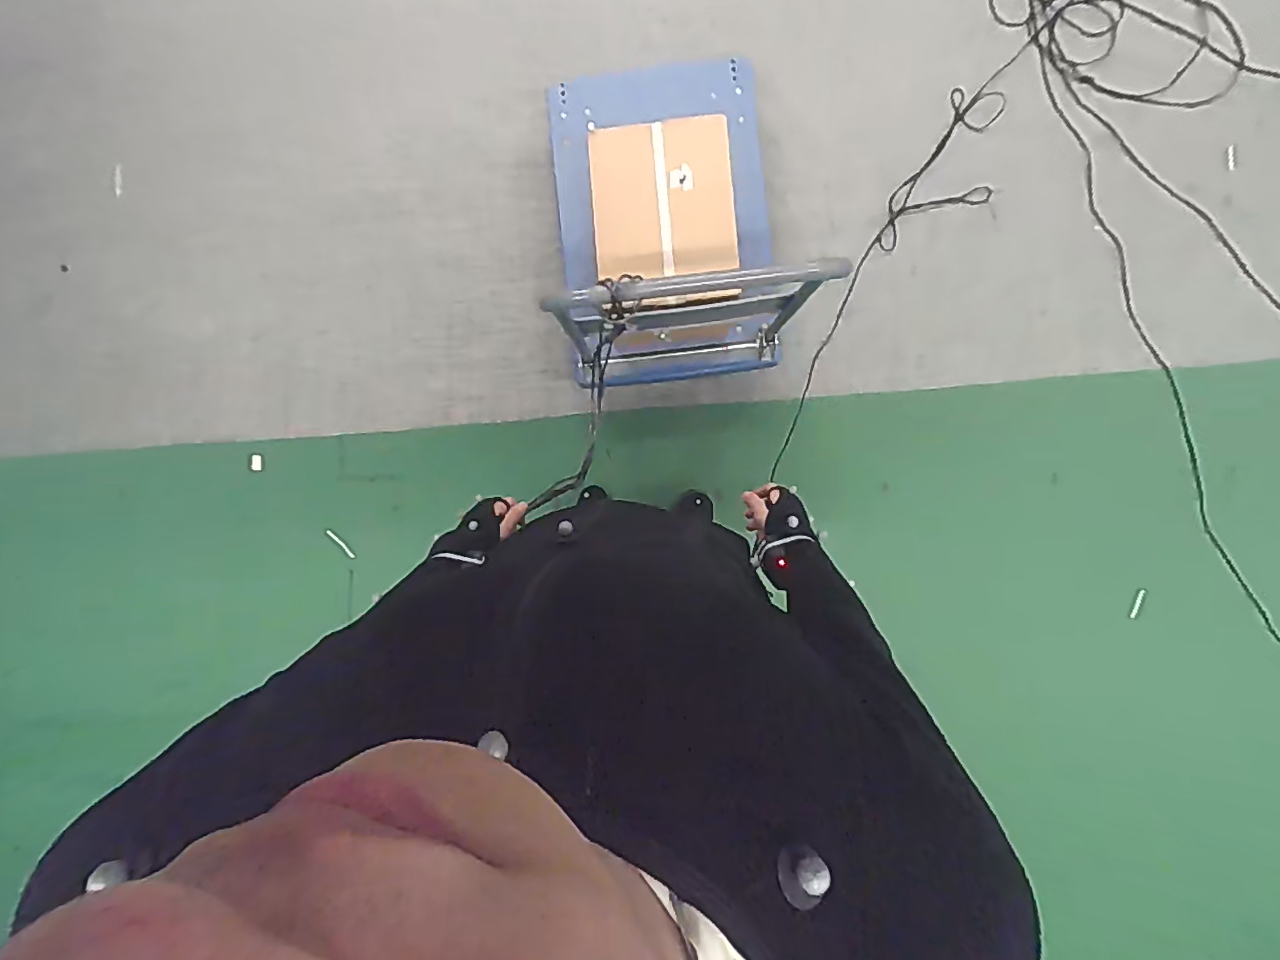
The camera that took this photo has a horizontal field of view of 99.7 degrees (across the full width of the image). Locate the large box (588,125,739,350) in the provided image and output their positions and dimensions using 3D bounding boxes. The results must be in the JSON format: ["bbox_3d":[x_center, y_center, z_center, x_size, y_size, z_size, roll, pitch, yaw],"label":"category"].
[{"bbox_3d":[0.058,-0.576,1.353,0.320,0.320,0.408,-4,87,2],"label":"large box"}]
